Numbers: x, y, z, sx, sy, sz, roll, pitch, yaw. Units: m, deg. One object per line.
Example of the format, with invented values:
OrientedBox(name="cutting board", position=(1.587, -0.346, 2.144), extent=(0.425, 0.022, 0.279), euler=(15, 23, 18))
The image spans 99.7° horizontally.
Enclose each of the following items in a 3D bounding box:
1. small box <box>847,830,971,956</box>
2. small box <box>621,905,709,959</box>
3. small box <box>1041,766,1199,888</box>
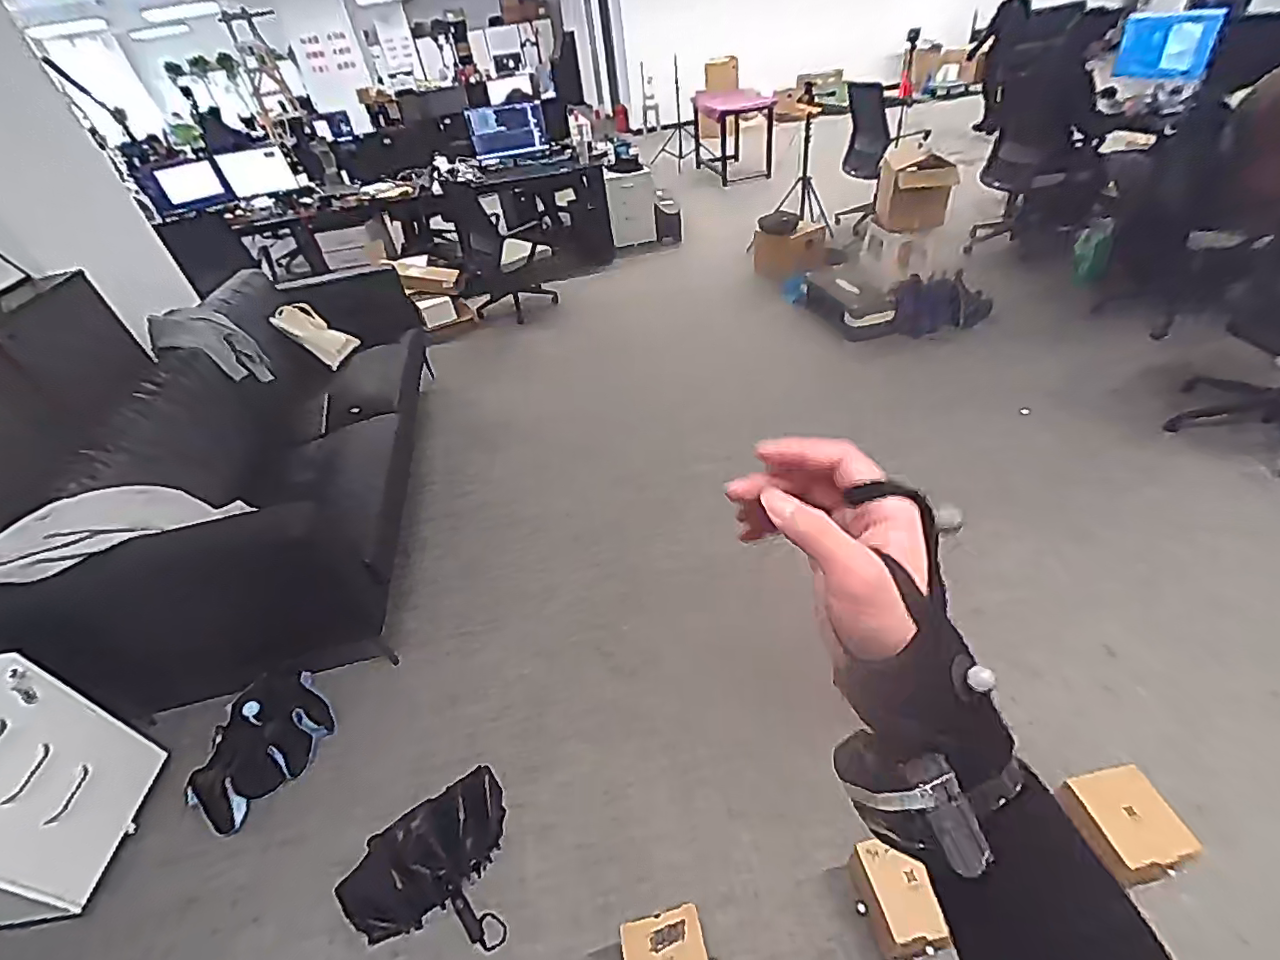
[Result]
OrientedBox(name="small box", position=(0.568, 0.896, 1.168), extent=(0.168, 0.176, 0.179), euler=(-12, 40, -2))
OrientedBox(name="small box", position=(0.064, 1.025, 1.117), extent=(0.168, 0.176, 0.179), euler=(-14, 41, -4))
OrientedBox(name="small box", position=(1.053, 0.779, 1.206), extent=(0.168, 0.176, 0.179), euler=(-12, 38, -3))
